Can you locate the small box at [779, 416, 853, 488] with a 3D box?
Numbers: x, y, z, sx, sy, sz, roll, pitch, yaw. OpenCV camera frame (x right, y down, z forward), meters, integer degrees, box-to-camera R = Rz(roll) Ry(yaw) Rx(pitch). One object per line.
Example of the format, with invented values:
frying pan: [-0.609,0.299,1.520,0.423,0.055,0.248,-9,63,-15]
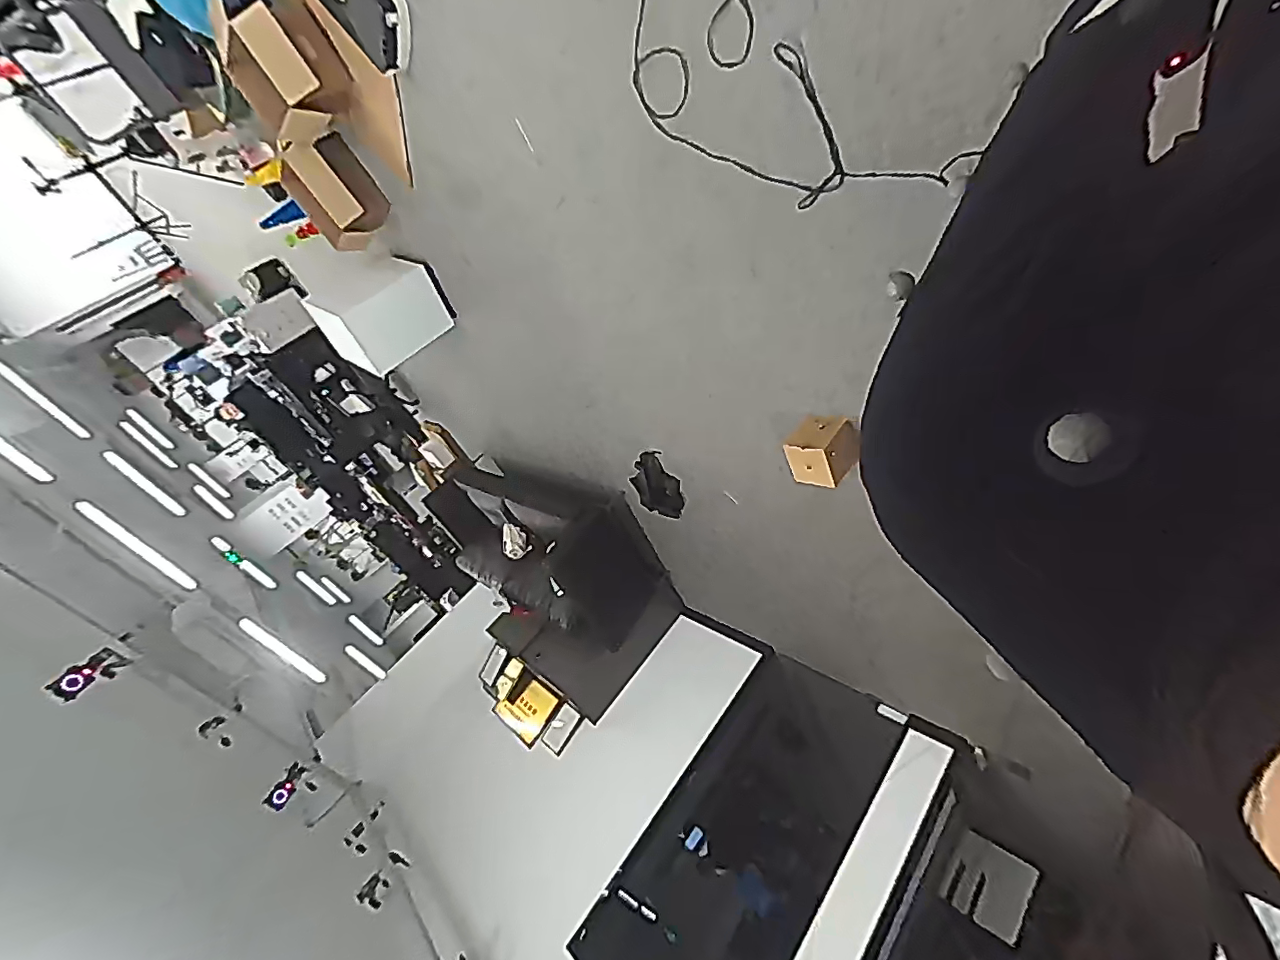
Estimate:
small box: [0.624,-0.103,1.899,0.168,0.176,0.179,14,141,48]
